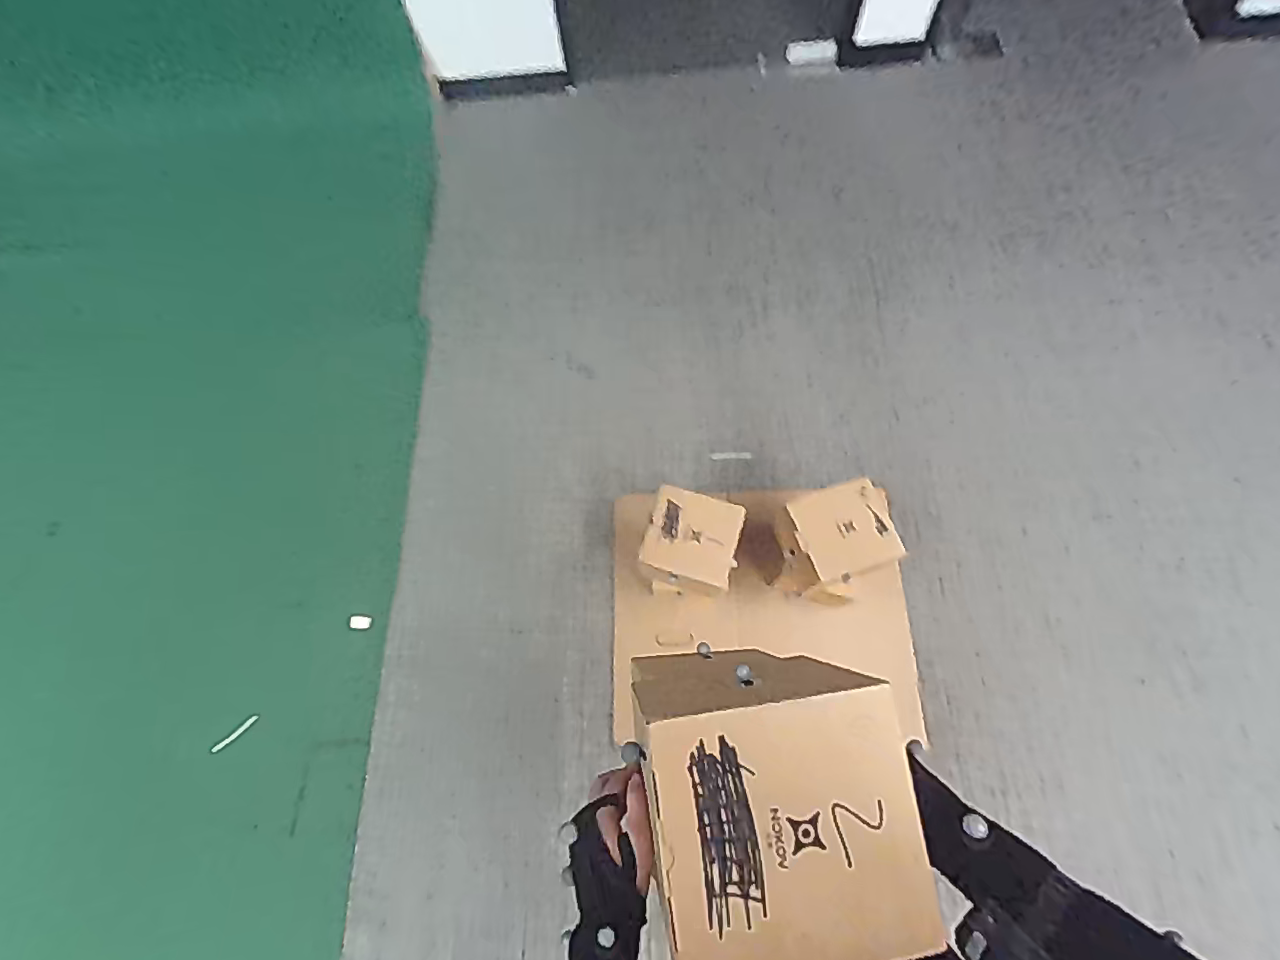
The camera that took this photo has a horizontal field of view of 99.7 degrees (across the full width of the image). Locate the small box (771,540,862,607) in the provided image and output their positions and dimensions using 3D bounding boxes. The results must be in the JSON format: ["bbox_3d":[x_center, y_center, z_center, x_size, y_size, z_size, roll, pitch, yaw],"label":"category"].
[{"bbox_3d":[0.413,0.178,1.250,0.168,0.176,0.179,17,73,10],"label":"small box"}]

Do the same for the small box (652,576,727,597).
[{"bbox_3d":[0.116,0.179,1.274,0.168,0.176,0.179,0,70,4],"label":"small box"}]

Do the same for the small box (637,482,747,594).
[{"bbox_3d":[0.105,0.127,1.118,0.179,0.176,0.168,17,72,9],"label":"small box"}]

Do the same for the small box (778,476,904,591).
[{"bbox_3d":[0.393,0.116,1.100,0.179,0.176,0.168,-18,70,-2],"label":"small box"}]

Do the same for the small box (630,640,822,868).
[{"bbox_3d":[0.078,0.276,0.584,0.168,0.176,0.179,-2,79,-6],"label":"small box"}]
